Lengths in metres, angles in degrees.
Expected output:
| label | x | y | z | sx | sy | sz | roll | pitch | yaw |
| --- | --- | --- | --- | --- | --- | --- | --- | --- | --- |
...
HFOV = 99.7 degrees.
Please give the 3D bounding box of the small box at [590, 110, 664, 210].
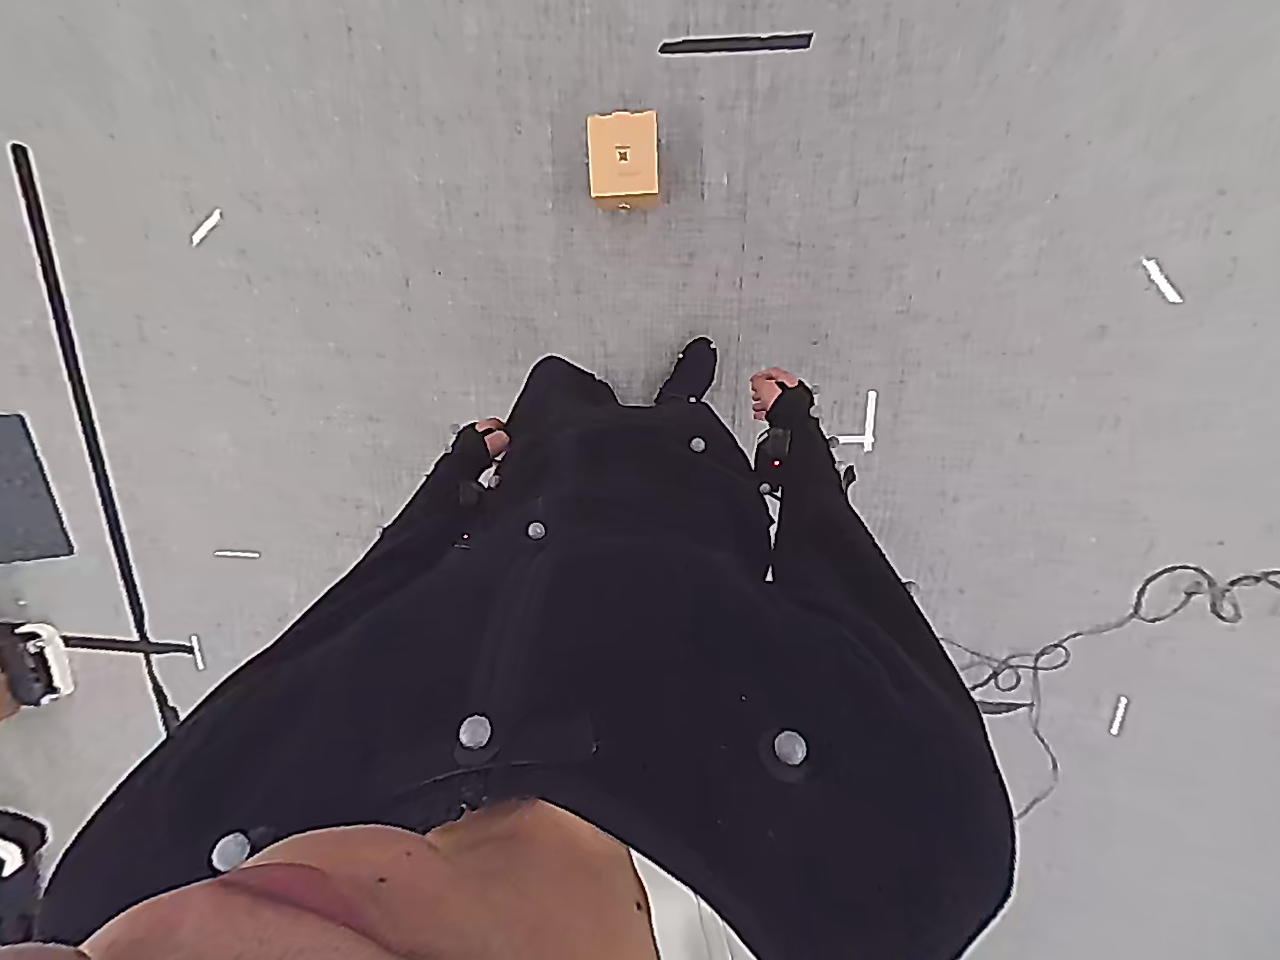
| label | x | y | z | sx | sy | sz | roll | pitch | yaw |
| --- | --- | --- | --- | --- | --- | --- | --- | --- | --- |
| small box | -0.028 | -0.790 | 1.348 | 0.168 | 0.176 | 0.179 | 0 | 106 | 5 |
